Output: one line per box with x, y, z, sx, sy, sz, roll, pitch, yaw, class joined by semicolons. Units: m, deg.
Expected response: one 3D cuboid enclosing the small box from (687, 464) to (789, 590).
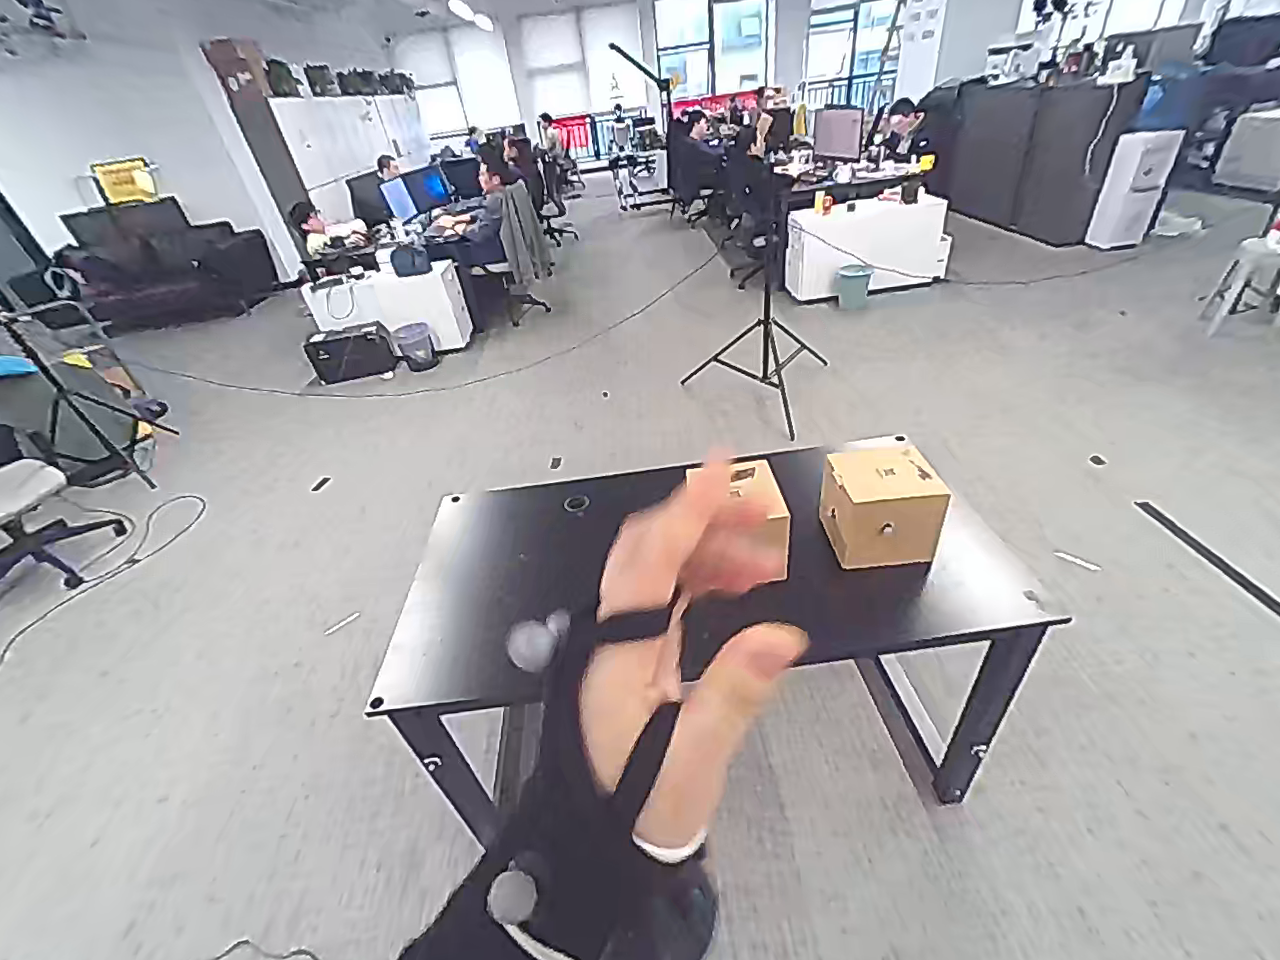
0.187;0.091;1.071;0.168;0.176;0.179;-8;36;1;small box

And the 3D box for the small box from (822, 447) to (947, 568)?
0.466;0.056;1.063;0.179;0.176;0.168;-7;36;4;small box
